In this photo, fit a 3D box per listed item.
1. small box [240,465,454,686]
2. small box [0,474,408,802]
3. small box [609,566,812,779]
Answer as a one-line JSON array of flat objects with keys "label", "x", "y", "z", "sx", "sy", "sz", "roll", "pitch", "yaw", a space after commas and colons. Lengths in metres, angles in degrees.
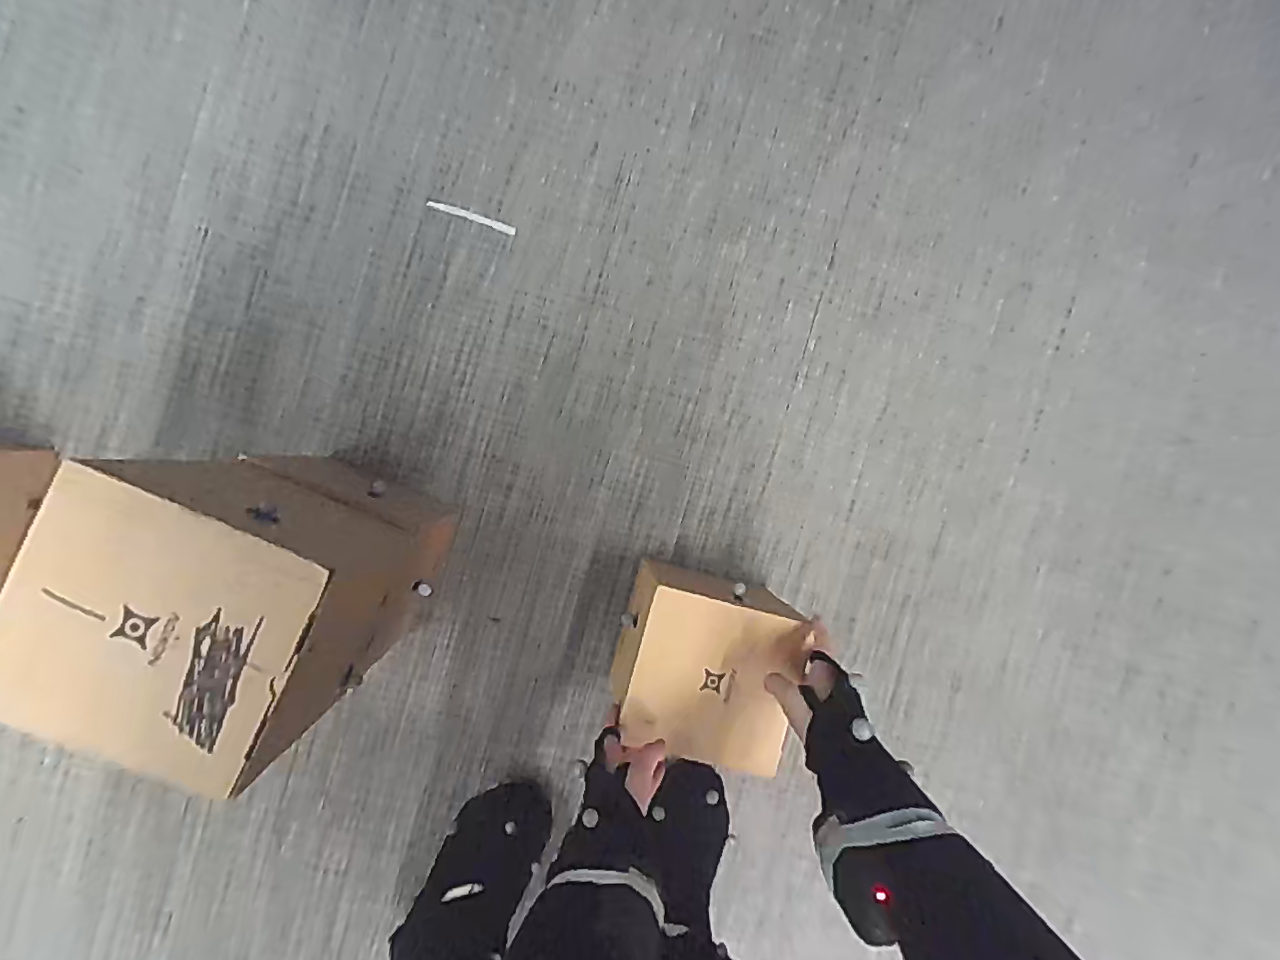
[{"label": "small box", "x": -0.327, "y": 0.089, "z": 0.589, "sx": 0.179, "sy": 0.176, "sz": 0.168, "roll": 24, "pitch": 89, "yaw": -6}, {"label": "small box", "x": -0.315, "y": 0.100, "z": 0.424, "sx": 0.179, "sy": 0.176, "sz": 0.168, "roll": 24, "pitch": 89, "yaw": -4}, {"label": "small box", "x": 0.066, "y": 0.206, "z": 0.628, "sx": 0.179, "sy": 0.176, "sz": 0.168, "roll": 15, "pitch": 90, "yaw": -6}]
